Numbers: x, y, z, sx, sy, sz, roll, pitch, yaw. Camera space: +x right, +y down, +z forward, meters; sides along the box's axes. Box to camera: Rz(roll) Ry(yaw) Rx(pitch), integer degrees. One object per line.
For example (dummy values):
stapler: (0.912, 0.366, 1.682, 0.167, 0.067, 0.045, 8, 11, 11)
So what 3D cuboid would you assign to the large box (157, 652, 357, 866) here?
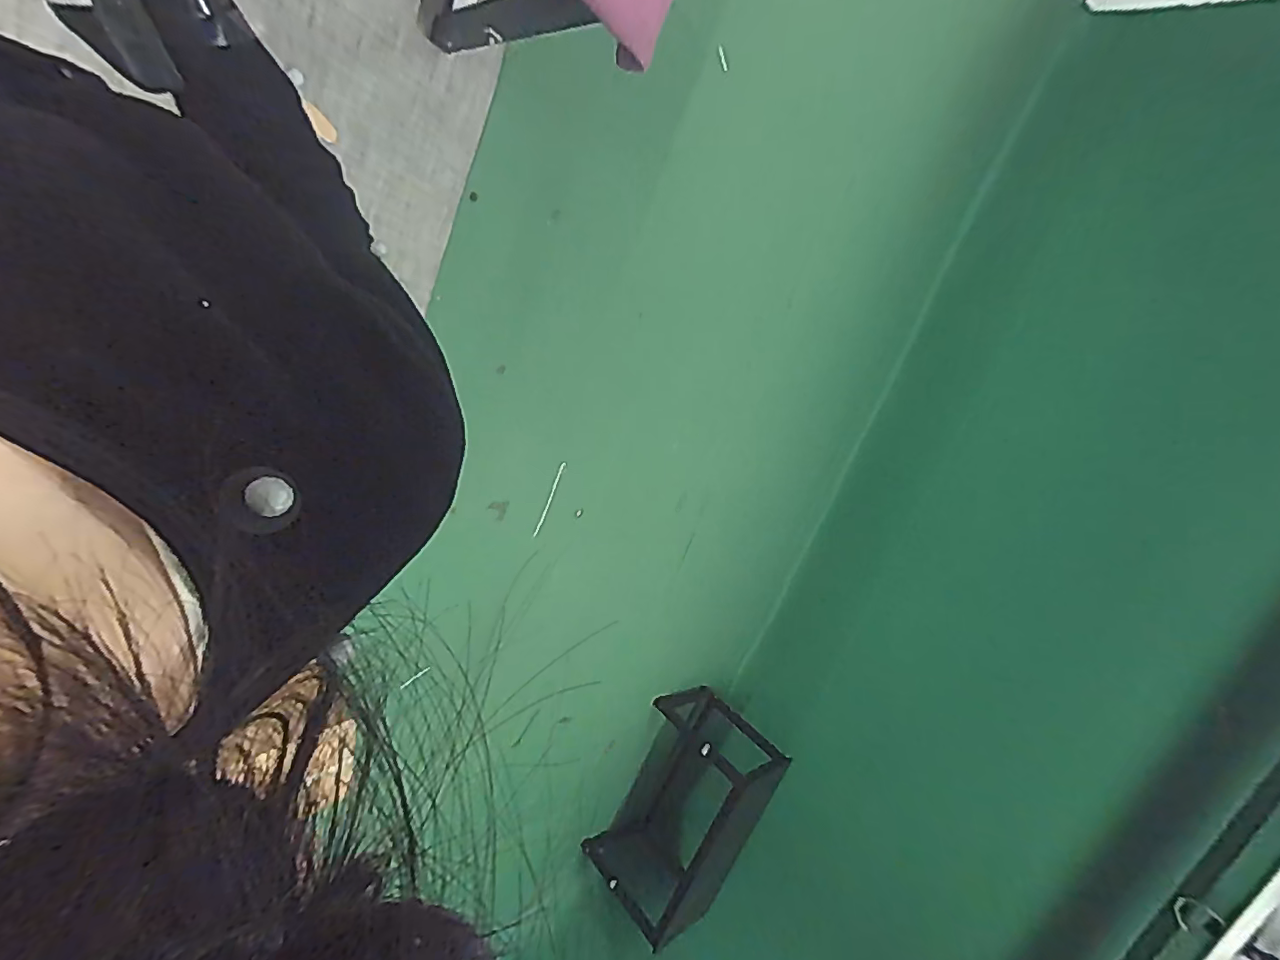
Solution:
large box: (-1.077, 0.761, 1.542, 0.408, 0.320, 0.320, -11, 123, -43)

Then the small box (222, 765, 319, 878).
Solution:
small box: (-0.937, 0.867, 1.369, 0.179, 0.176, 0.168, -5, 117, -44)

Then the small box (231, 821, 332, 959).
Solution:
small box: (-0.838, 0.938, 1.259, 0.168, 0.176, 0.179, -3, 116, -45)
